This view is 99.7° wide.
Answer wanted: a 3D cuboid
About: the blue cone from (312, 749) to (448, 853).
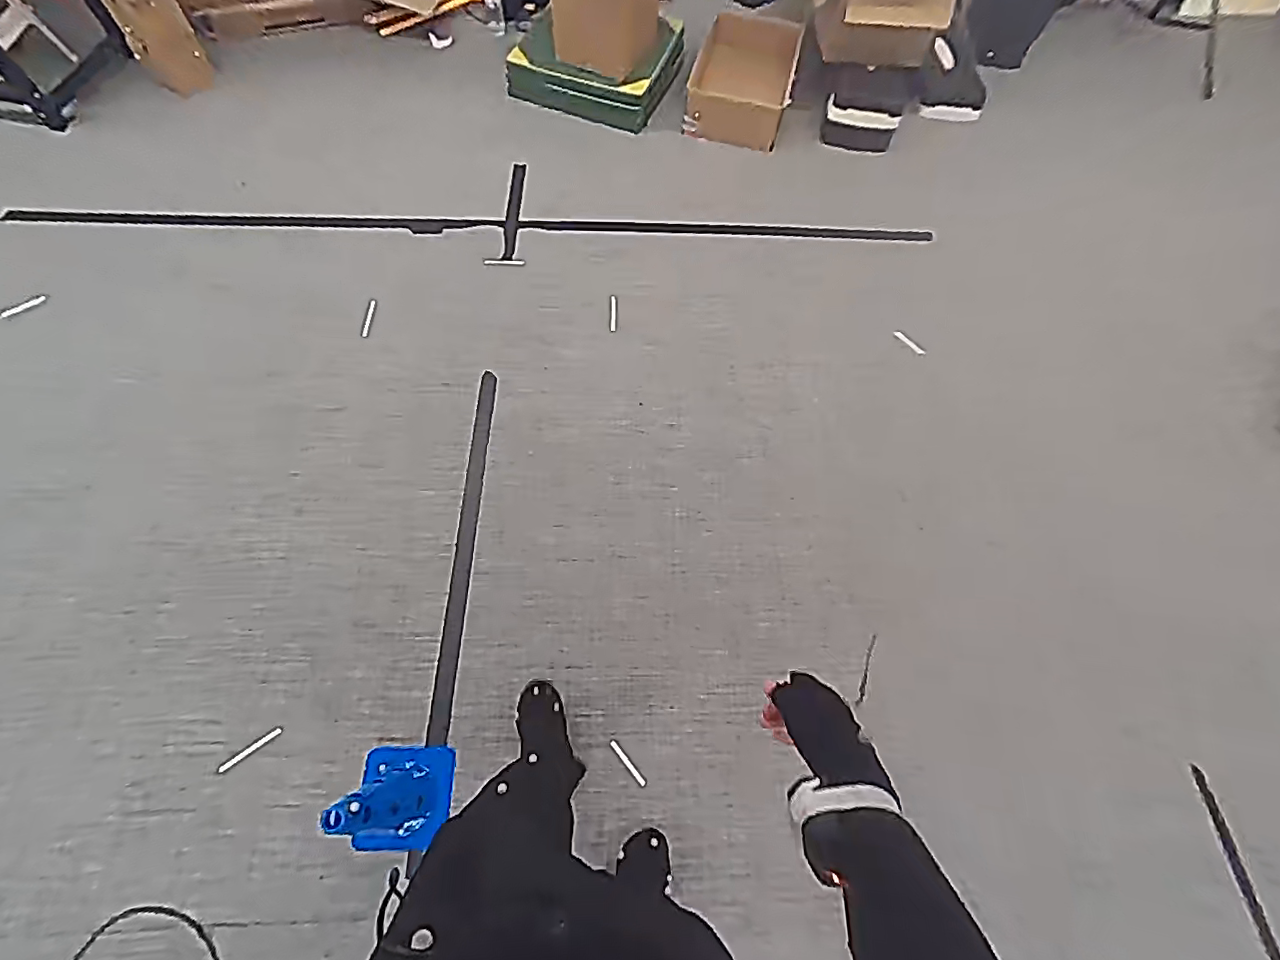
[{"bbox_3d":[-0.514,0.627,1.029,0.193,0.380,0.192,0,65,-3],"label":"blue cone"}]
